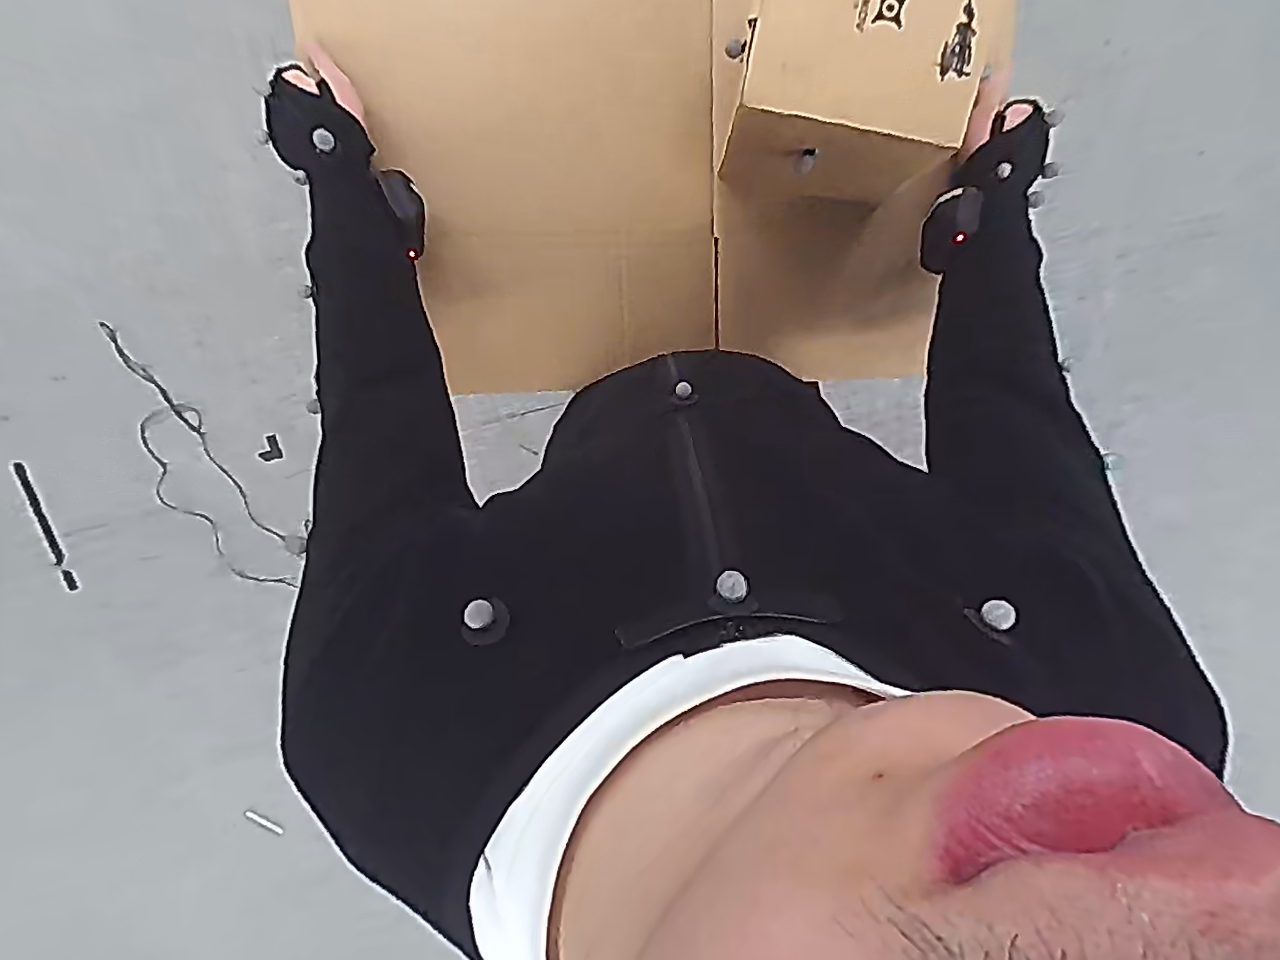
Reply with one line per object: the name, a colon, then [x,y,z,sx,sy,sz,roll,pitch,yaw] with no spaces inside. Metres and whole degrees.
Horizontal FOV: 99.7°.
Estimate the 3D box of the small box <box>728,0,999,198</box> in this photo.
small box: [0.183,-0.372,0.481,0.179,0.176,0.168,11,103,1]
